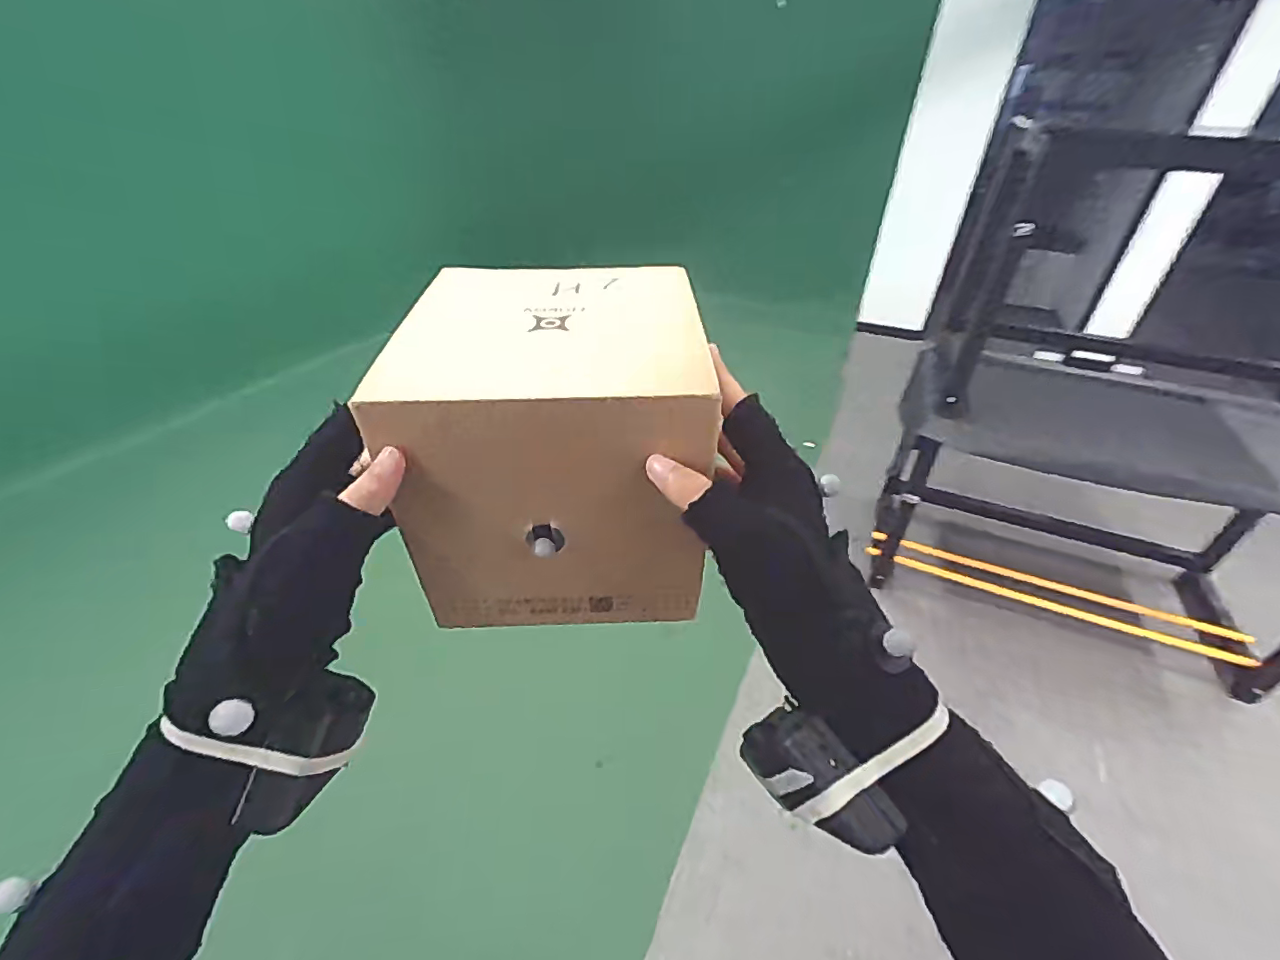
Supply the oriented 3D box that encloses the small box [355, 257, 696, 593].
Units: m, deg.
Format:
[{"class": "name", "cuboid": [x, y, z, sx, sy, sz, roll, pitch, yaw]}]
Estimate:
[{"class": "small box", "cuboid": [-0.053, -0.038, 0.366, 0.168, 0.176, 0.179, 0, 38, -1]}]
